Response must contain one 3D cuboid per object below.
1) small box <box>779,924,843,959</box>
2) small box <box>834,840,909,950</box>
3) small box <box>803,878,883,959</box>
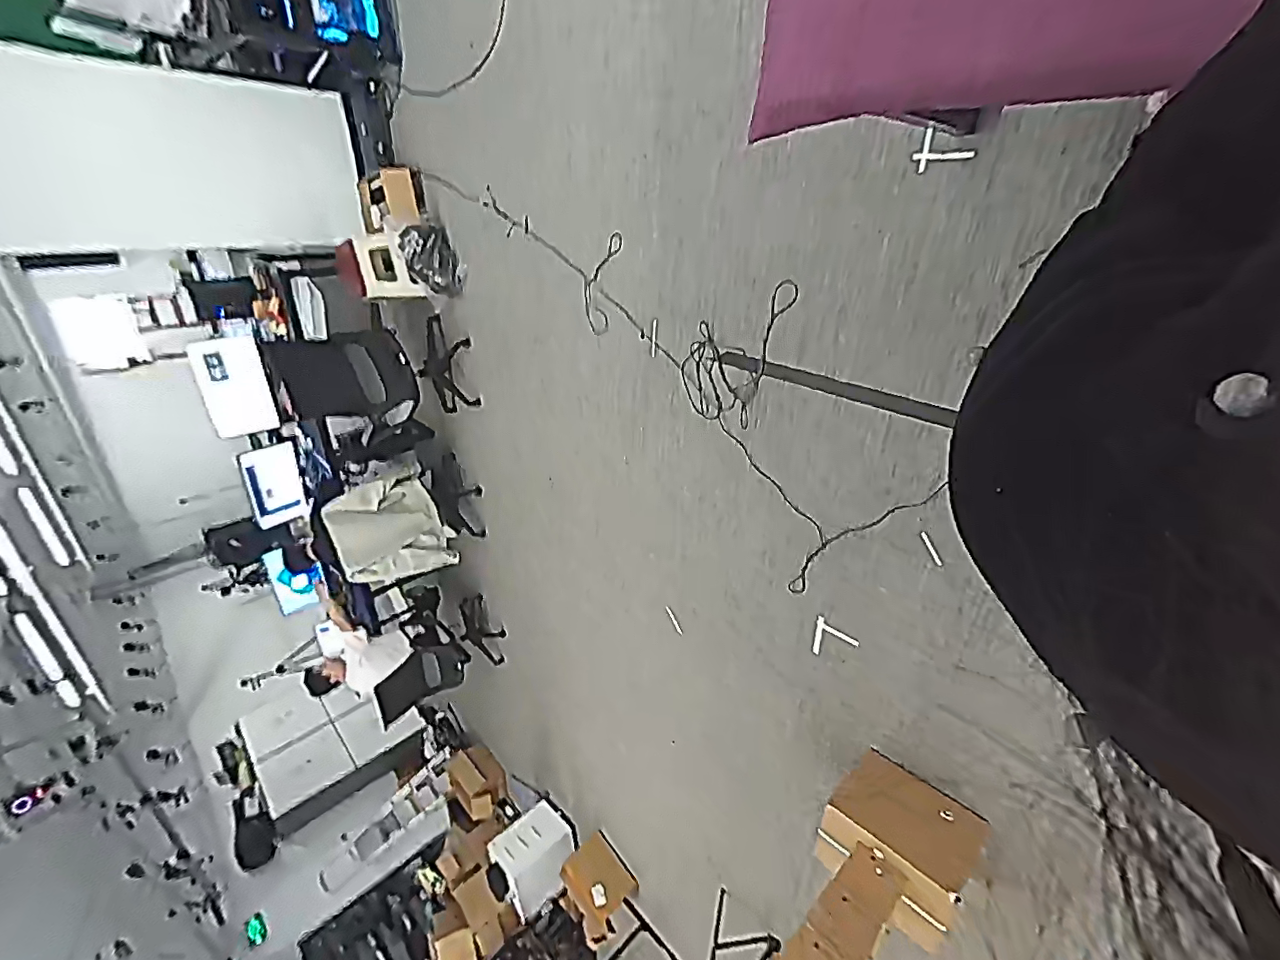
[{"bbox_3d":[0.465,1.368,1.457,0.168,0.176,0.179,18,121,45],"label":"small box"},{"bbox_3d":[0.701,1.270,1.662,0.168,0.176,0.179,23,124,40],"label":"small box"},{"bbox_3d":[0.581,1.313,1.561,0.168,0.176,0.179,23,125,42],"label":"small box"}]
